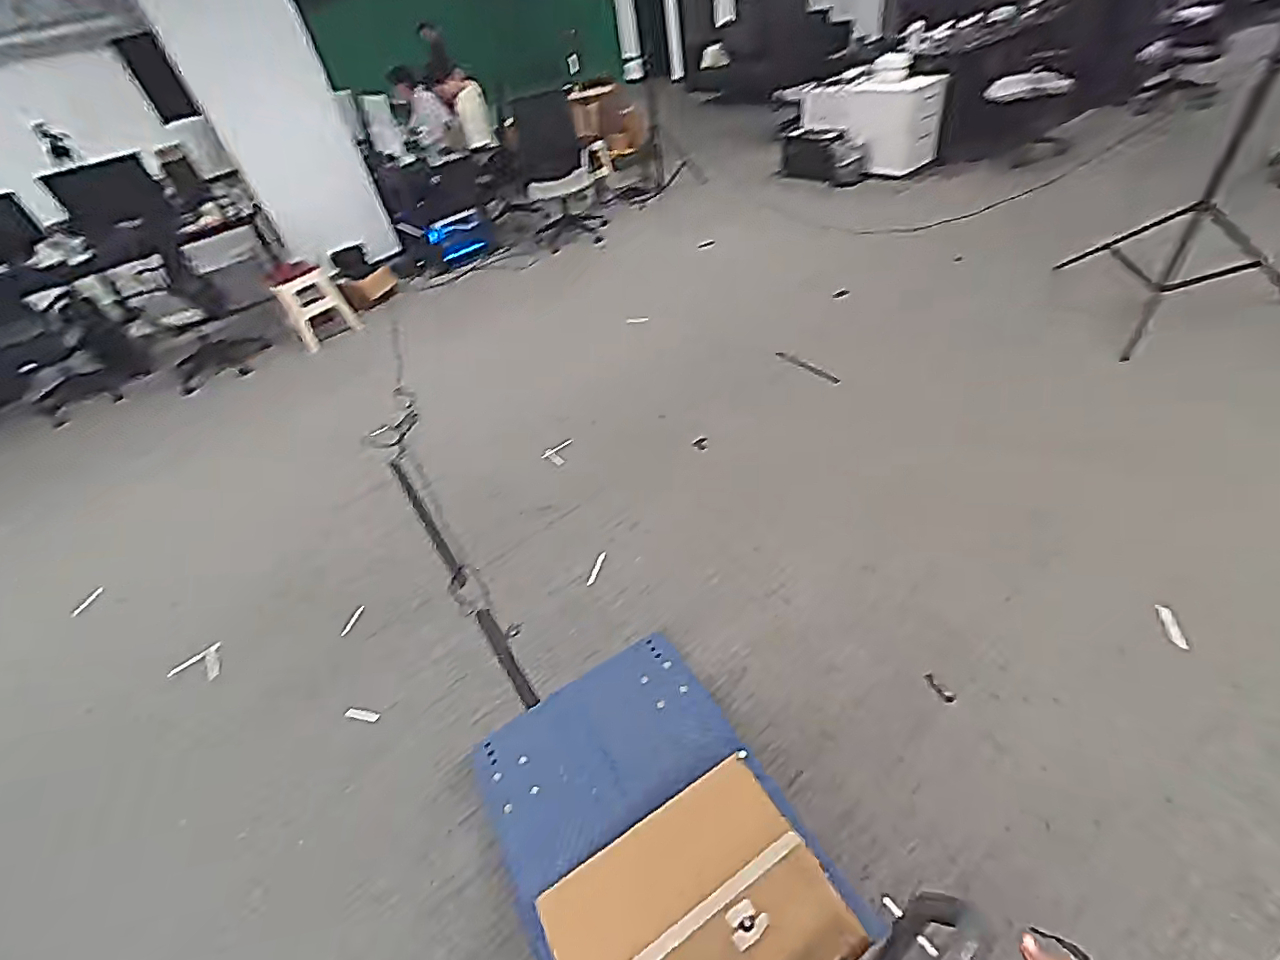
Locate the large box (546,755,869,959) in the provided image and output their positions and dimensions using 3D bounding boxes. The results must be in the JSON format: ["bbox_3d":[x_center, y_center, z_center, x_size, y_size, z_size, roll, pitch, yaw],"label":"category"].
[{"bbox_3d":[0.111,0.774,0.919,0.408,0.320,0.320,-27,45,-16],"label":"large box"}]
